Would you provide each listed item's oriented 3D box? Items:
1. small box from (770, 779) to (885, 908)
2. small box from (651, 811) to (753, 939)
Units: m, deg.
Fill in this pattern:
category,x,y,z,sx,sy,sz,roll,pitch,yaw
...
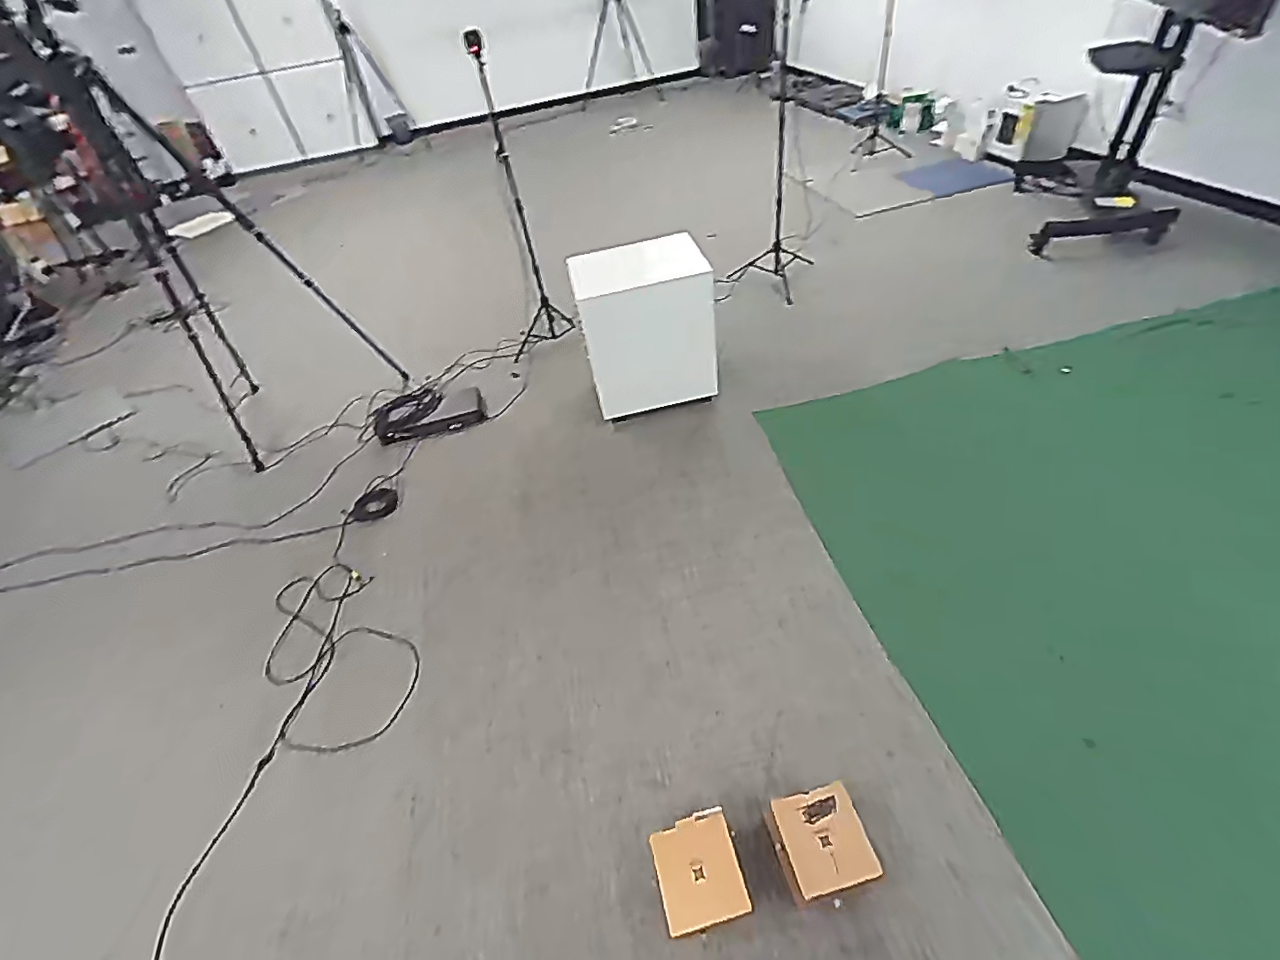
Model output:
category,x,y,z,sx,sy,sz,roll,pitch,yaw
small box,0.386,0.775,1.153,0.168,0.176,0.179,-15,46,-4
small box,0.130,0.837,1.139,0.168,0.176,0.179,-15,45,-5
